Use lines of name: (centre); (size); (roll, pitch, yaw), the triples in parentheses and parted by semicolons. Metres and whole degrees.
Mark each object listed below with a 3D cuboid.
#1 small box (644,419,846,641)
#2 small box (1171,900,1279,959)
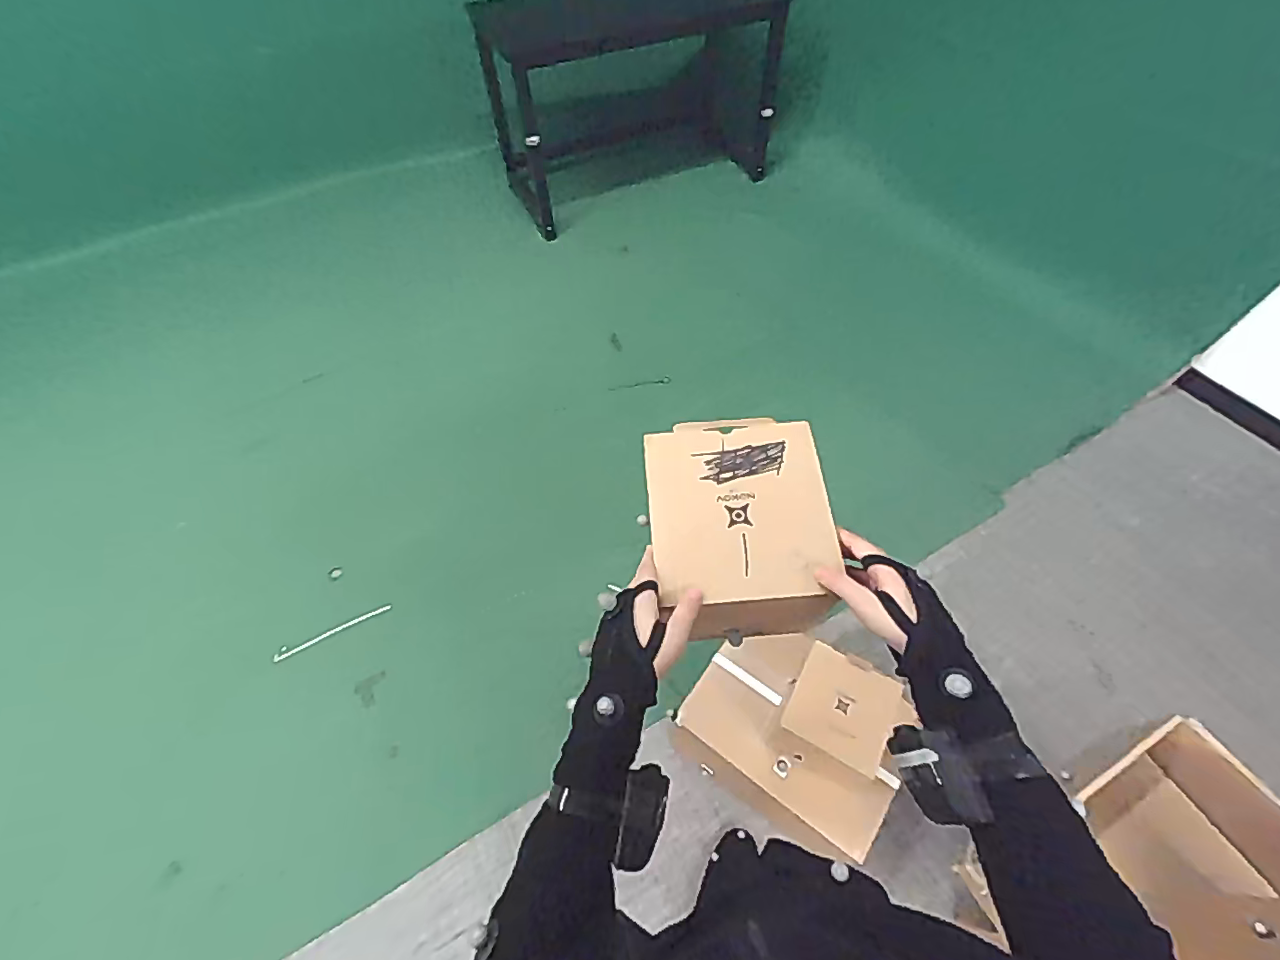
small box: (0.093, 0.059, 0.566); (0.168, 0.176, 0.179); (-5, 63, 2)
small box: (0.851, 0.672, 0.685); (0.179, 0.176, 0.168); (-26, 58, -15)
